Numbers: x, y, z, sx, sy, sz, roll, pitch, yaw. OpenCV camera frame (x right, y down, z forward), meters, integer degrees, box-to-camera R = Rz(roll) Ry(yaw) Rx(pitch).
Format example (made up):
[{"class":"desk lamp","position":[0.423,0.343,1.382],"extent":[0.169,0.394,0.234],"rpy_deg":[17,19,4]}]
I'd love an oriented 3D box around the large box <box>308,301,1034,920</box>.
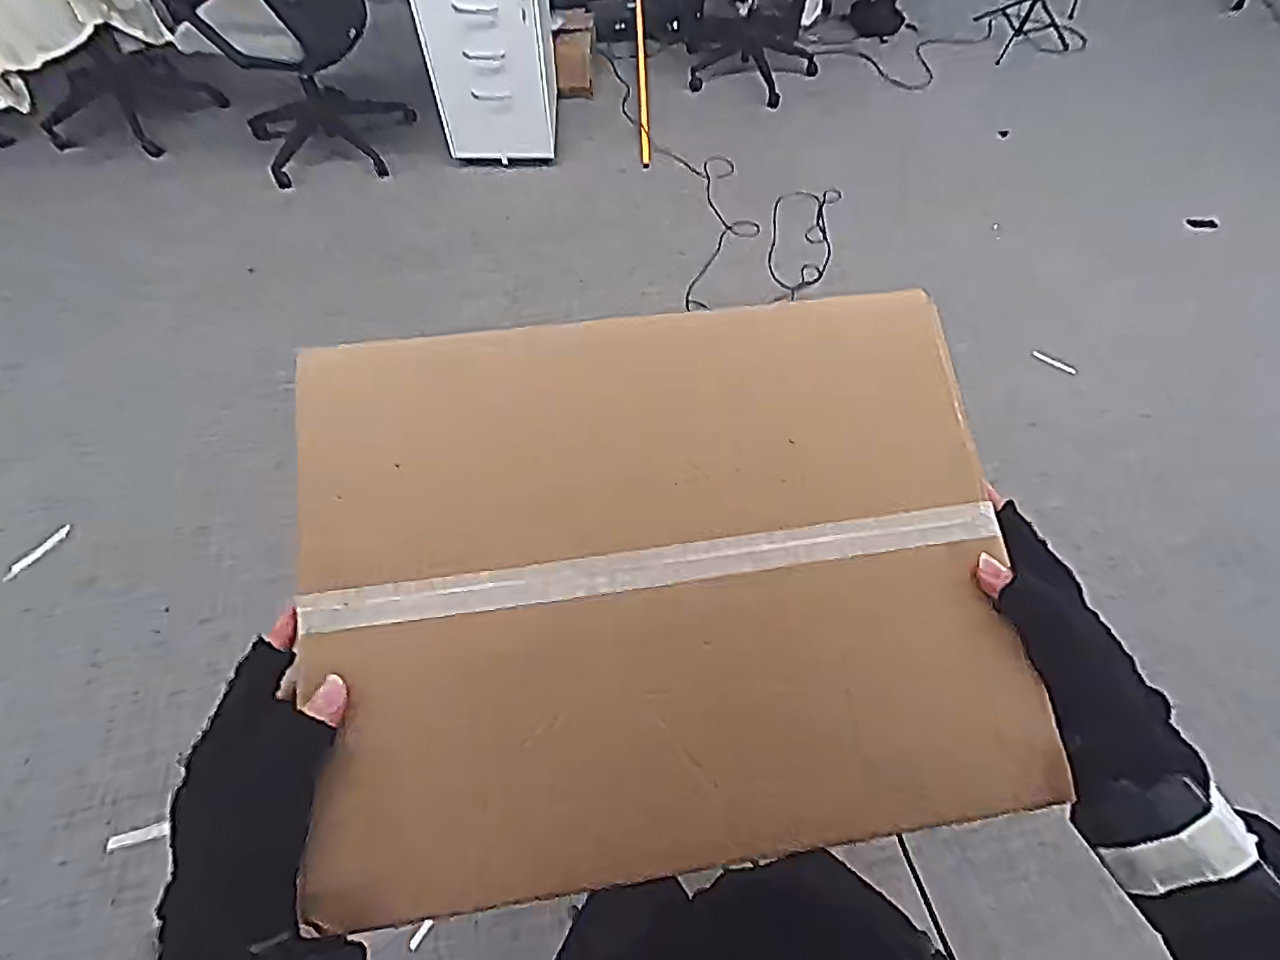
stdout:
[{"class":"large box","position":[0.004,0.082,0.467],"extent":[0.408,0.320,0.320],"rpy_deg":[-7,77,-5]}]
